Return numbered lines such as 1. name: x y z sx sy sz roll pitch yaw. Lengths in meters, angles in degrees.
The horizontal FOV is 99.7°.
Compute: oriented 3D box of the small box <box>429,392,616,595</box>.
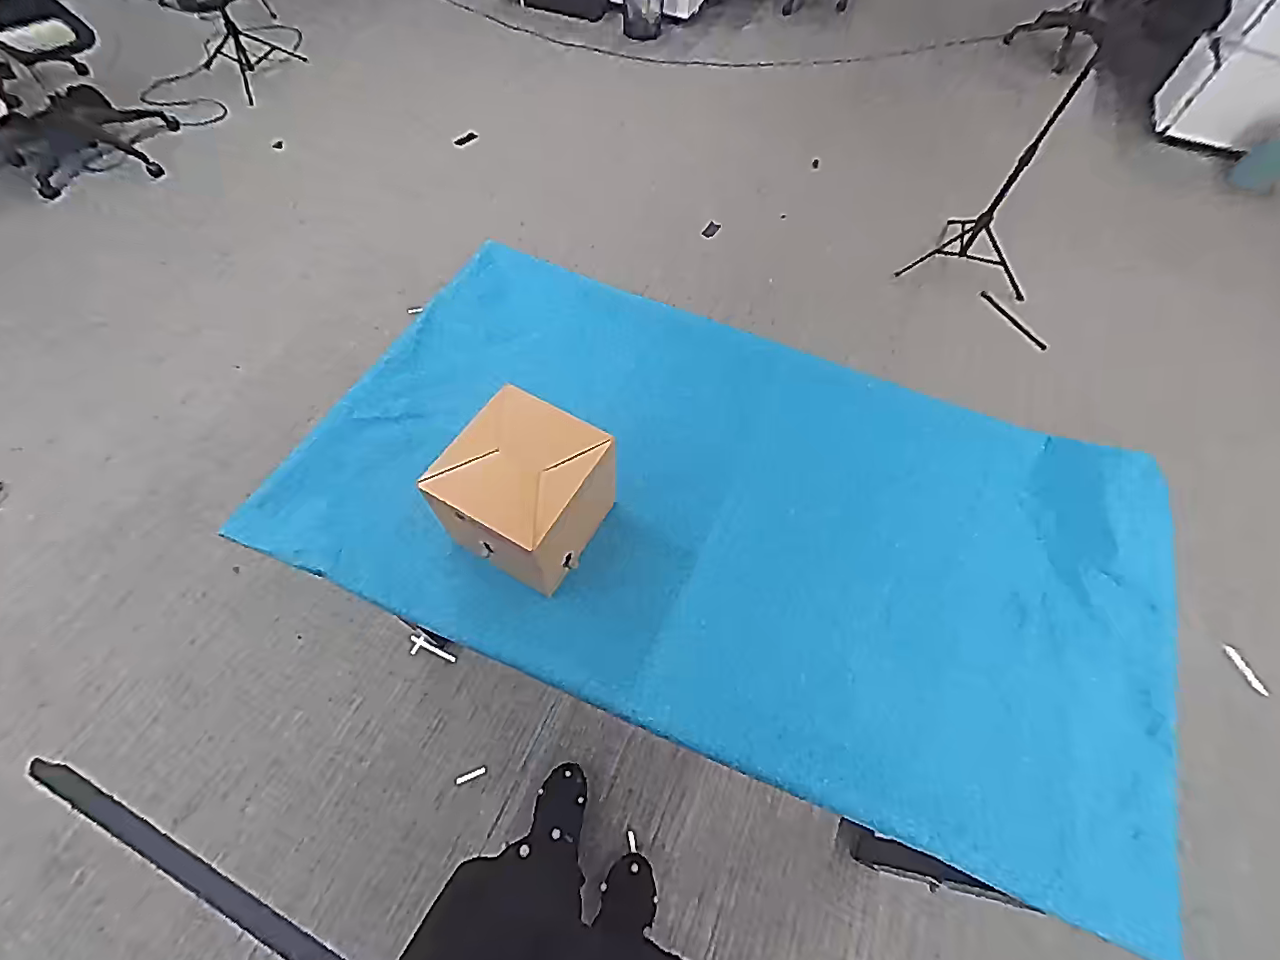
1. small box: -0.145 0.018 0.713 0.168 0.176 0.179 27 63 12
